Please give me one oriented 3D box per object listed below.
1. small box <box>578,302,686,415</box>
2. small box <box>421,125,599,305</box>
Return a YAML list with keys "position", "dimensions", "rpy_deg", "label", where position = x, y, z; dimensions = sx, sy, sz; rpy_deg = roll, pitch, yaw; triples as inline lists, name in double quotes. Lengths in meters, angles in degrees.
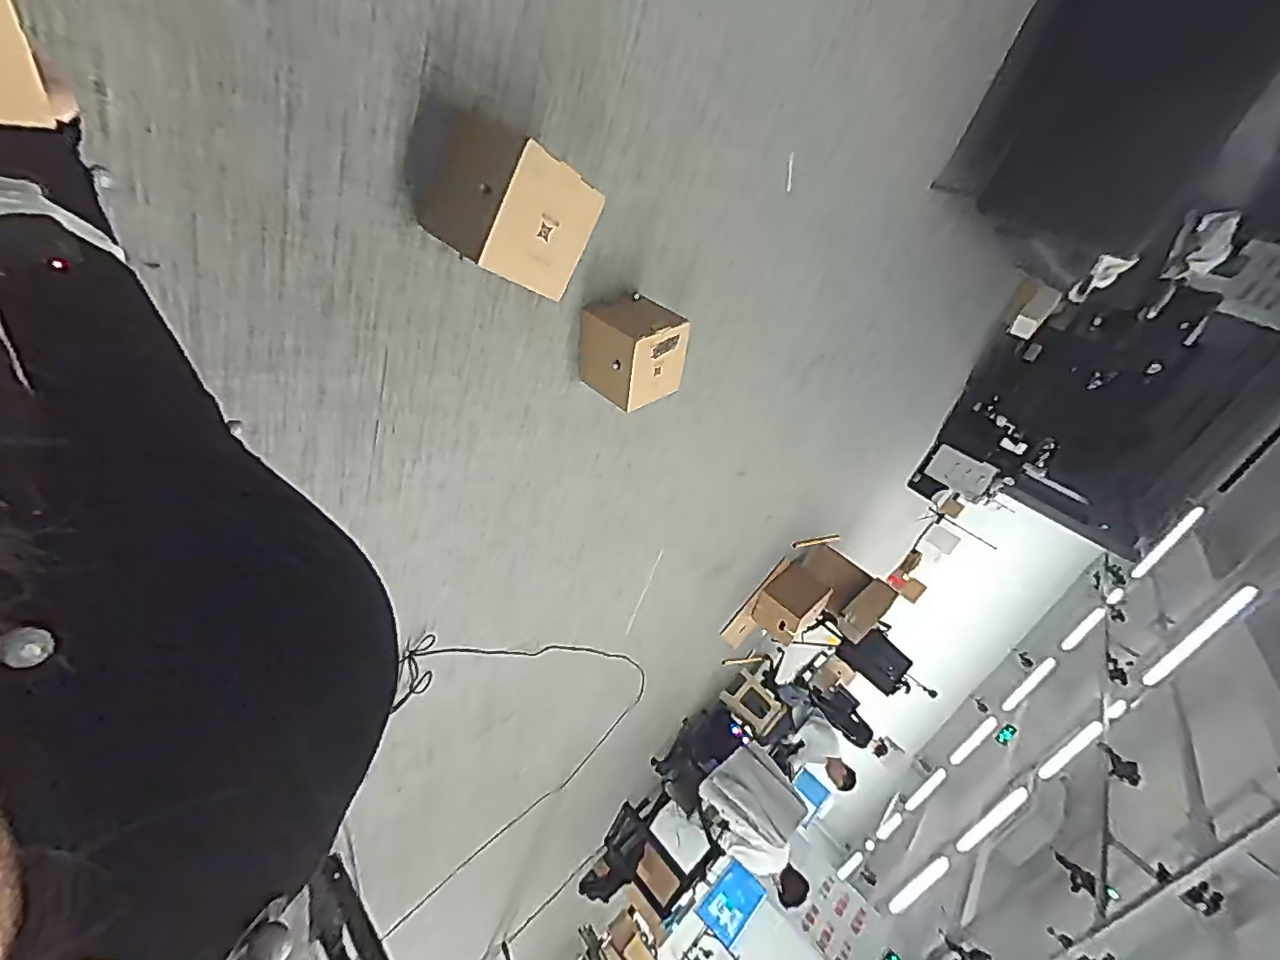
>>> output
- position: [-0.023, -0.277, 1.194]
  dimensions: [0.168, 0.176, 0.179]
  rpy_deg: [-29, 143, -35]
  label: "small box"
- position: [-0.200, -0.398, 0.818]
  dimensions: [0.168, 0.176, 0.179]
  rpy_deg: [5, 116, -56]
  label: "small box"
